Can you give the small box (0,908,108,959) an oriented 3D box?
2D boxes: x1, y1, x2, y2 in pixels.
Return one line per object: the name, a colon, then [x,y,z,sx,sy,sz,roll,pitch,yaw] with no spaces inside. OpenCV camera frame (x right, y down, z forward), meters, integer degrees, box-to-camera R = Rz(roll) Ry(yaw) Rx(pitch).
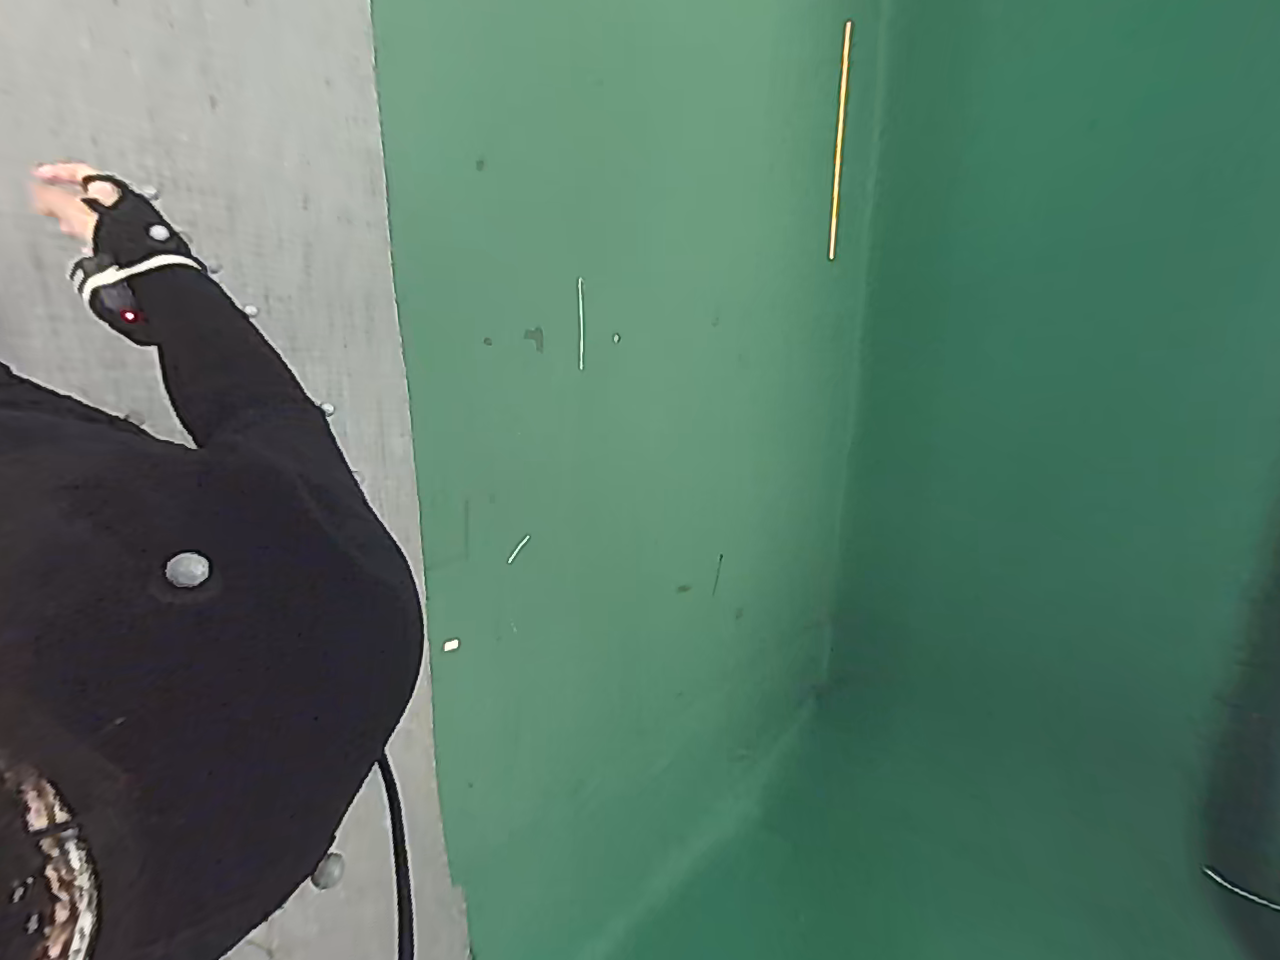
small box: [-1.200,1.036,1.092,0.179,0.176,0.168,-5,103,-49]
